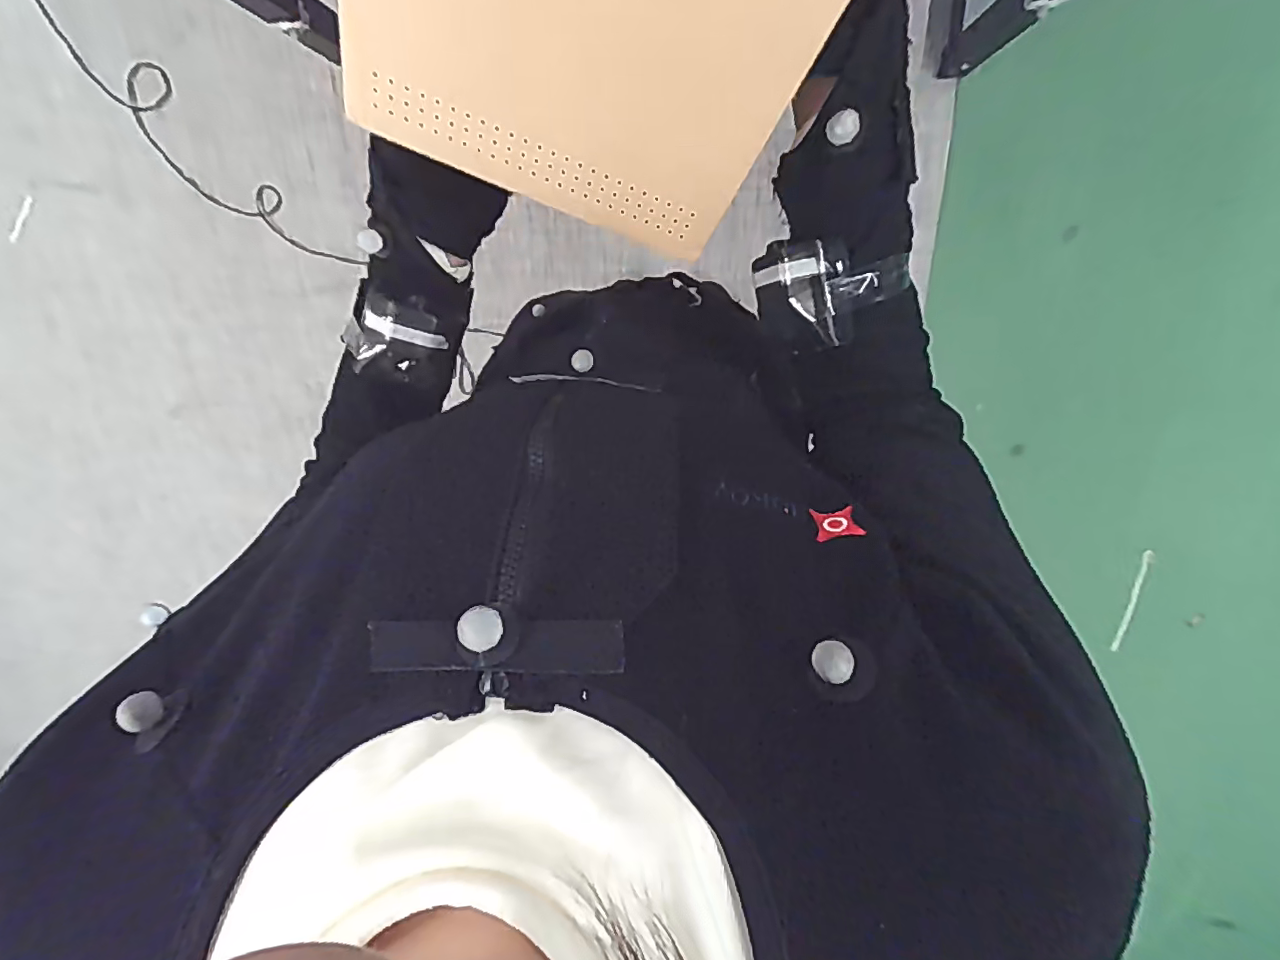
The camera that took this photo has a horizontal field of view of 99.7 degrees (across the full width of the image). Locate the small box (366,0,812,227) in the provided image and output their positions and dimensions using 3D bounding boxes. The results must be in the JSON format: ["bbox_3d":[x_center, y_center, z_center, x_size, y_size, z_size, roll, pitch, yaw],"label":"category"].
[{"bbox_3d":[-0.014,-0.256,0.251,0.179,0.168,0.176,16,147,-16],"label":"small box"}]
